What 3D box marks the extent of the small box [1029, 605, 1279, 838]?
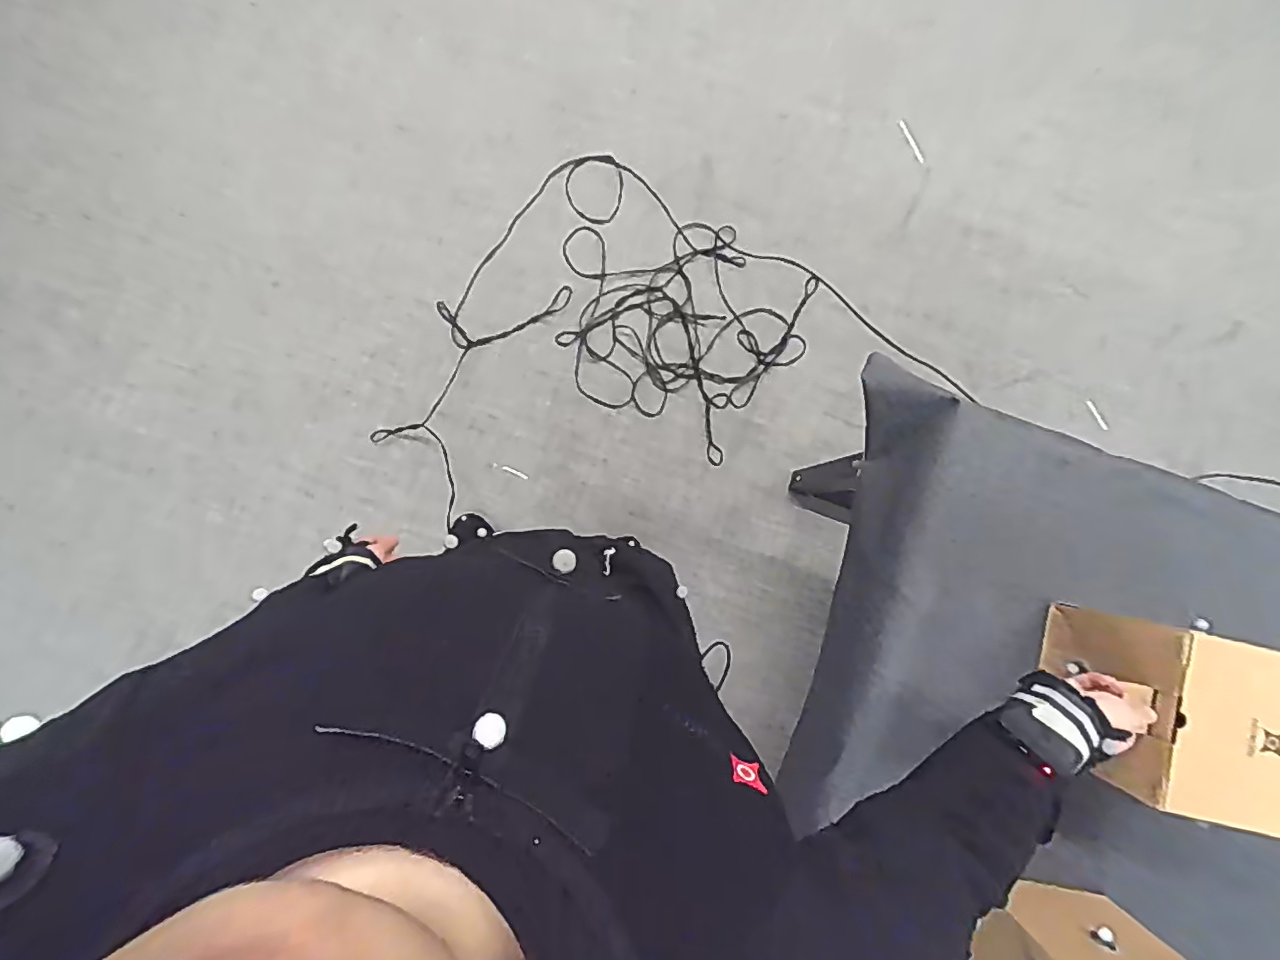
[{"bbox_3d":[0.566,0.240,0.570,0.179,0.176,0.168,13,87,0],"label":"small box"}]
